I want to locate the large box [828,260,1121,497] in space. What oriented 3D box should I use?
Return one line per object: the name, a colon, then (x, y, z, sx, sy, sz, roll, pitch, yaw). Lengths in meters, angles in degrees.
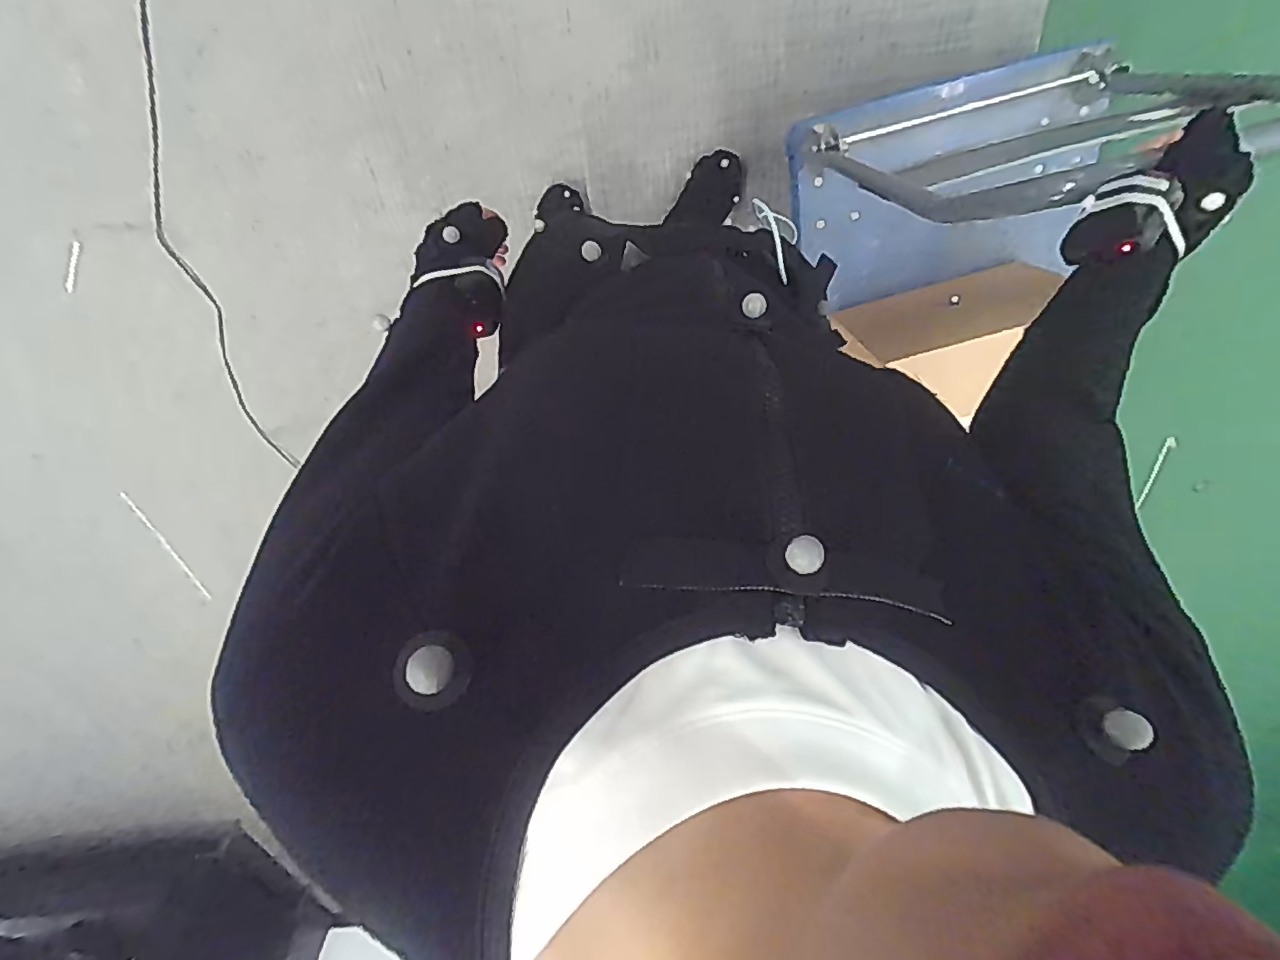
large box: (0.655, -0.218, 1.131, 0.408, 0.320, 0.320, -16, 123, 8)
